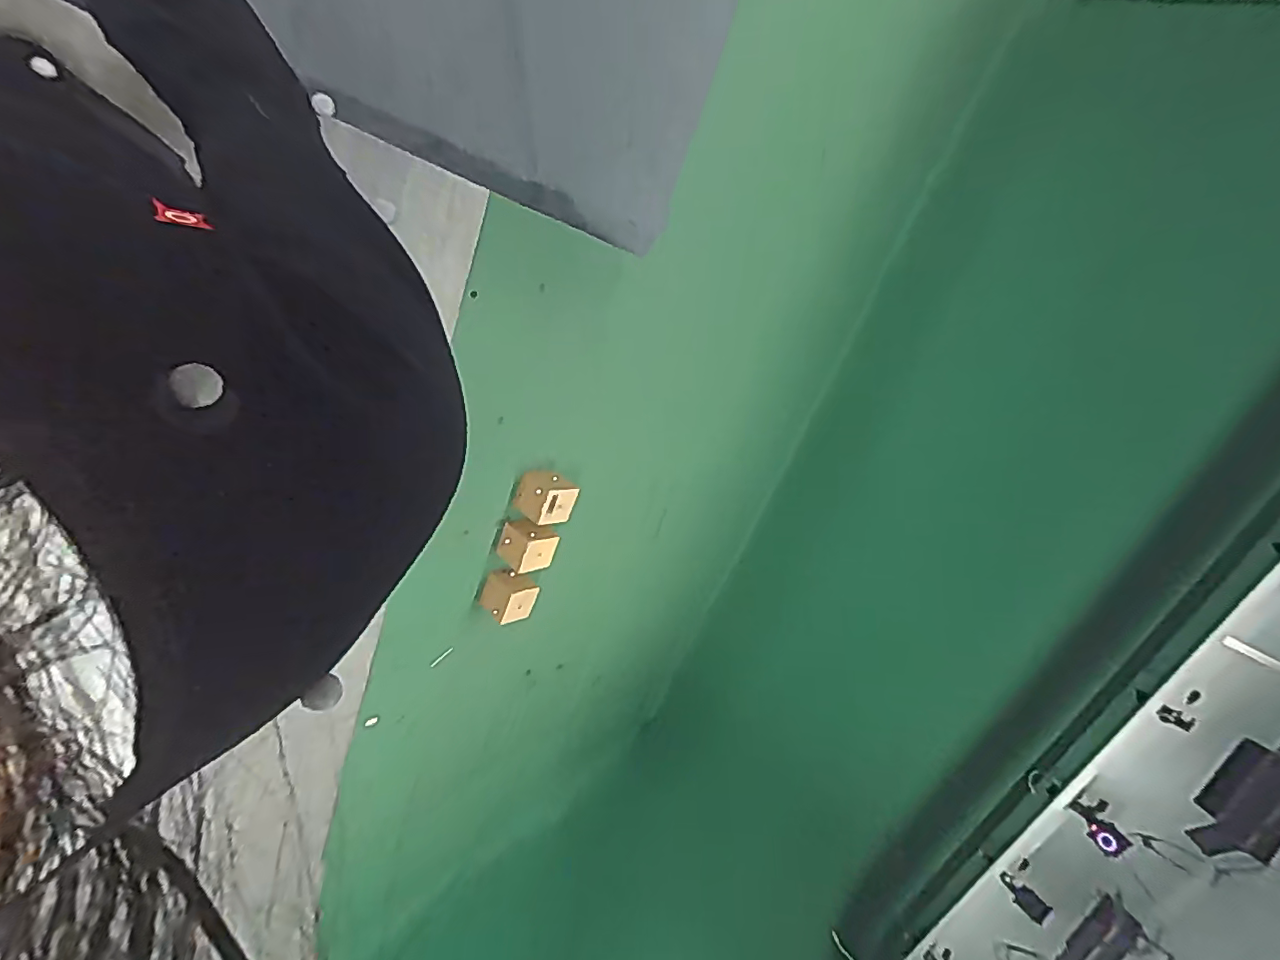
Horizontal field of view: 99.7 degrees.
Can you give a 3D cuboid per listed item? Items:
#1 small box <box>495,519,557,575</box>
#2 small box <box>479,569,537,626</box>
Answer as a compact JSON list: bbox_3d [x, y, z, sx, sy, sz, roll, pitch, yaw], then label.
[{"bbox_3d":[-0.499,0.284,2.358,0.179,0.176,0.168,-6,124,-51],"label":"small box"},{"bbox_3d":[-0.601,0.524,2.445,0.168,0.176,0.179,-3,122,-53],"label":"small box"}]
